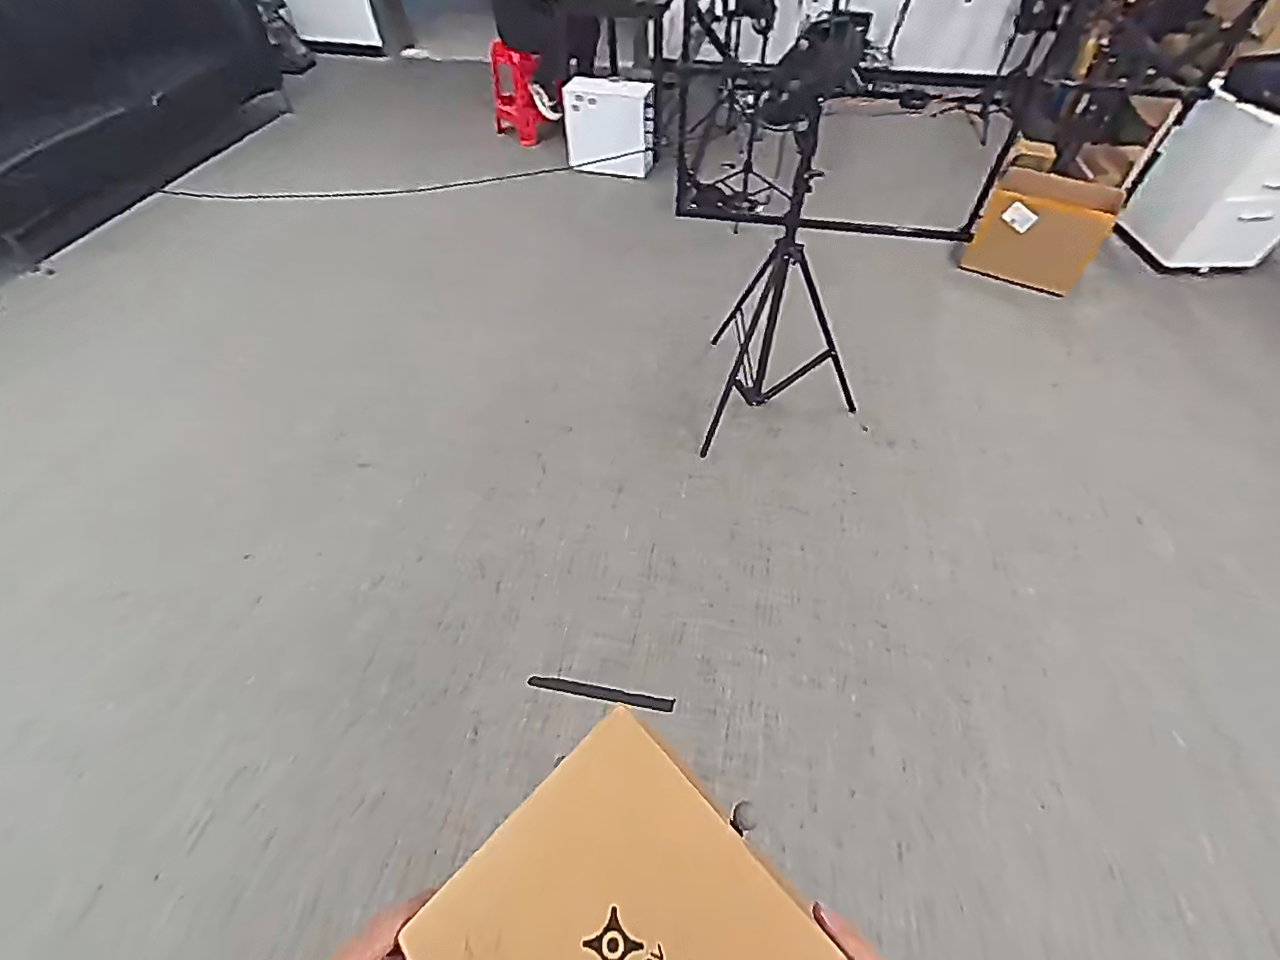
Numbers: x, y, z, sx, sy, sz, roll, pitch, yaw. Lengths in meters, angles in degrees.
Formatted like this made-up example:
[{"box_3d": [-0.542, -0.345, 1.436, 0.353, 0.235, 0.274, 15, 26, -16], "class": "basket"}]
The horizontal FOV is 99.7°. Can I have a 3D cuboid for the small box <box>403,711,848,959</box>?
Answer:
[{"box_3d": [-0.003, 0.280, 0.342, 0.168, 0.176, 0.179, -43, 66, -16], "class": "small box"}]
